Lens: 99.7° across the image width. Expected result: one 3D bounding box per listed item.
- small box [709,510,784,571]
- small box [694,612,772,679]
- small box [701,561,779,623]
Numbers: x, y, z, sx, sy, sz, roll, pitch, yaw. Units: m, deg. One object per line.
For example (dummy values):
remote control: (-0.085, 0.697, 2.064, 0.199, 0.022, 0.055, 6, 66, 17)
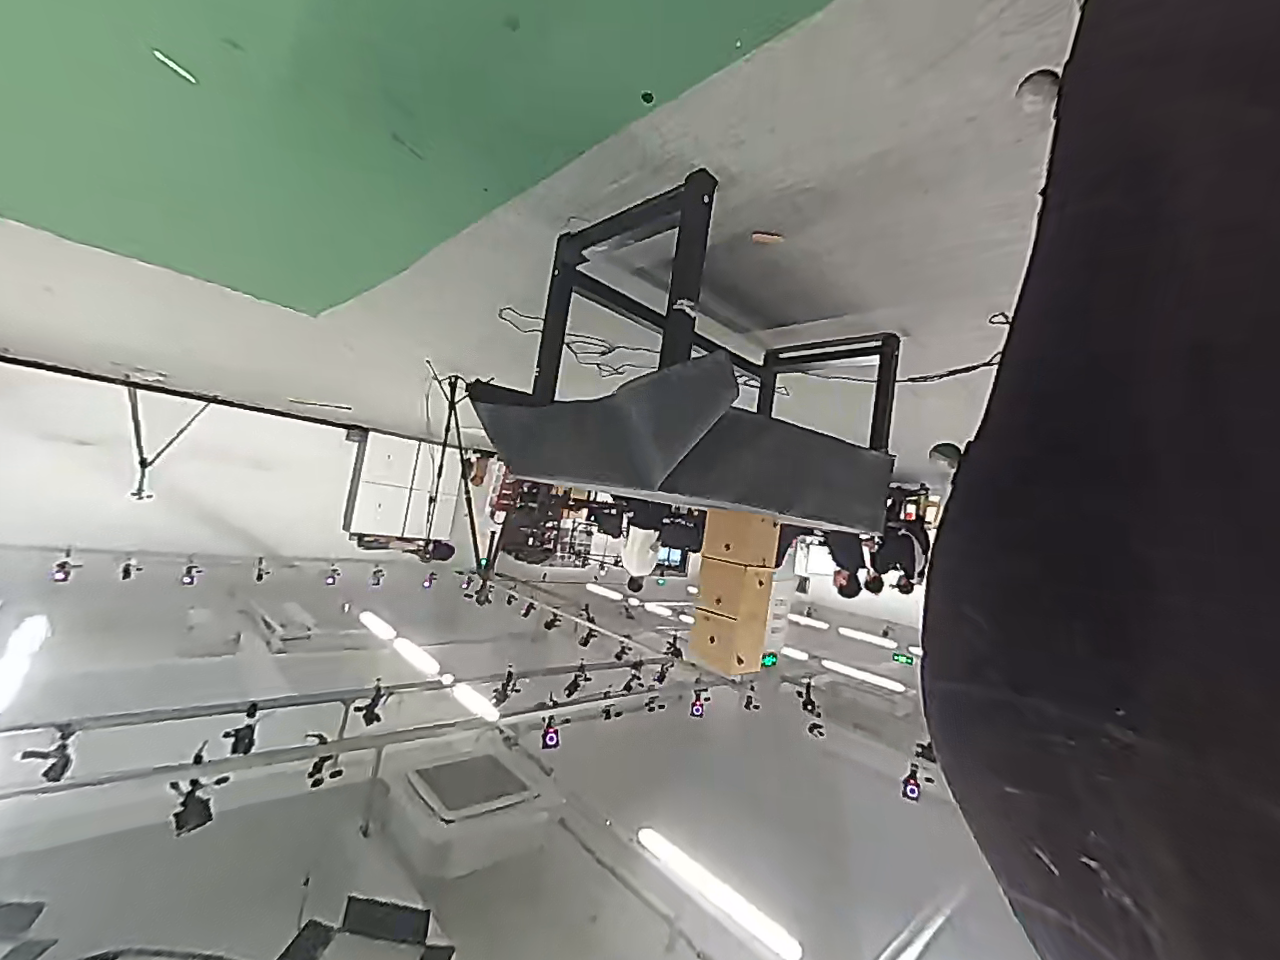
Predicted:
small box: (0.346, 0.191, 1.734, 0.168, 0.176, 0.179, 13, 175, -42)
small box: (0.296, 0.513, 1.706, 0.179, 0.176, 0.168, 13, 174, -44)
small box: (0.321, 0.350, 1.721, 0.168, 0.176, 0.179, 13, 174, -43)
